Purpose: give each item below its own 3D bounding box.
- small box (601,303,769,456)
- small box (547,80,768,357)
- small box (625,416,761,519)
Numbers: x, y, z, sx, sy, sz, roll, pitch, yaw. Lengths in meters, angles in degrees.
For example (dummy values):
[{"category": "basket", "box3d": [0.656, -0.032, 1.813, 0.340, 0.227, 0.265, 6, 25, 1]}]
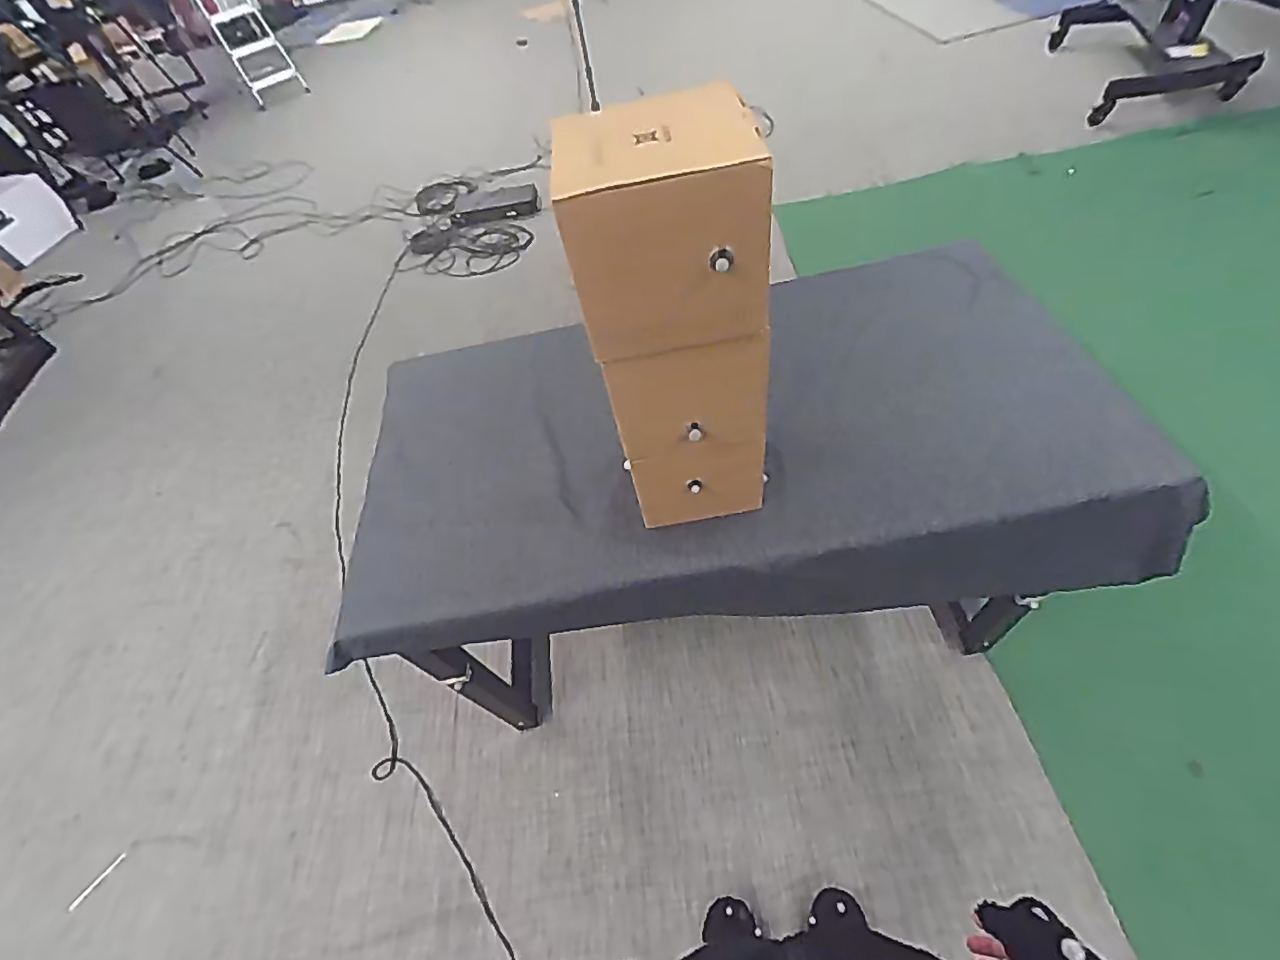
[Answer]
[{"category": "small box", "box3d": [0.047, -0.153, 0.659, 0.179, 0.176, 0.168, -12, 55, 3]}, {"category": "small box", "box3d": [0.019, -0.245, 0.525, 0.179, 0.176, 0.168, -10, 52, 5]}, {"category": "small box", "box3d": [0.071, -0.063, 0.790, 0.179, 0.176, 0.168, -11, 53, 4]}]
